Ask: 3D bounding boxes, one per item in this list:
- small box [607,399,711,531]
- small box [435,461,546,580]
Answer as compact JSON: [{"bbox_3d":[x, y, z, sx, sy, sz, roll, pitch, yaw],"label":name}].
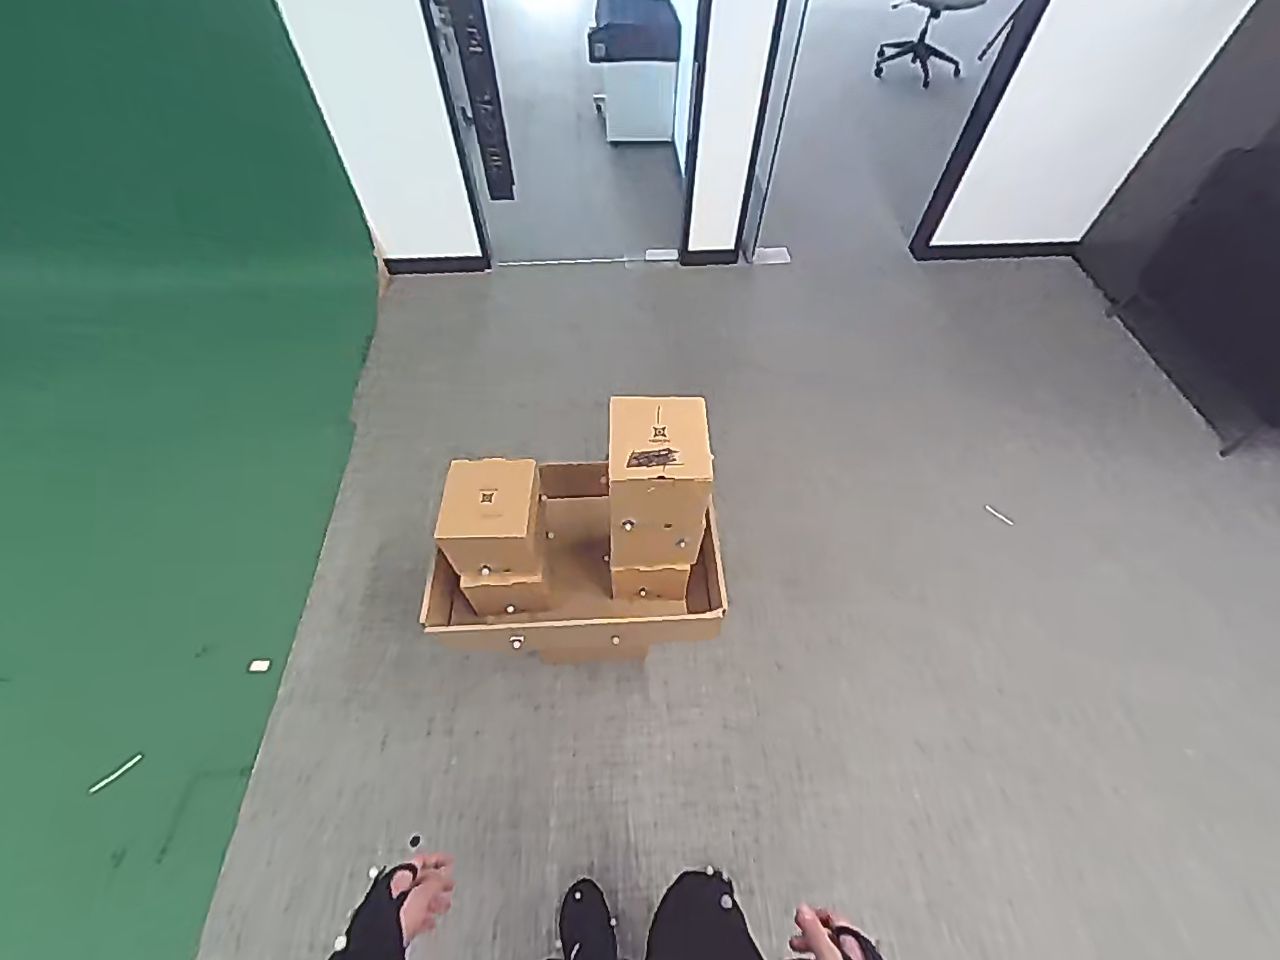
[{"bbox_3d":[0.029,-0.022,0.951,0.168,0.176,0.179,1,54,-2],"label":"small box"},{"bbox_3d":[-0.284,0.081,1.072,0.168,0.176,0.179,0,54,0],"label":"small box"}]
